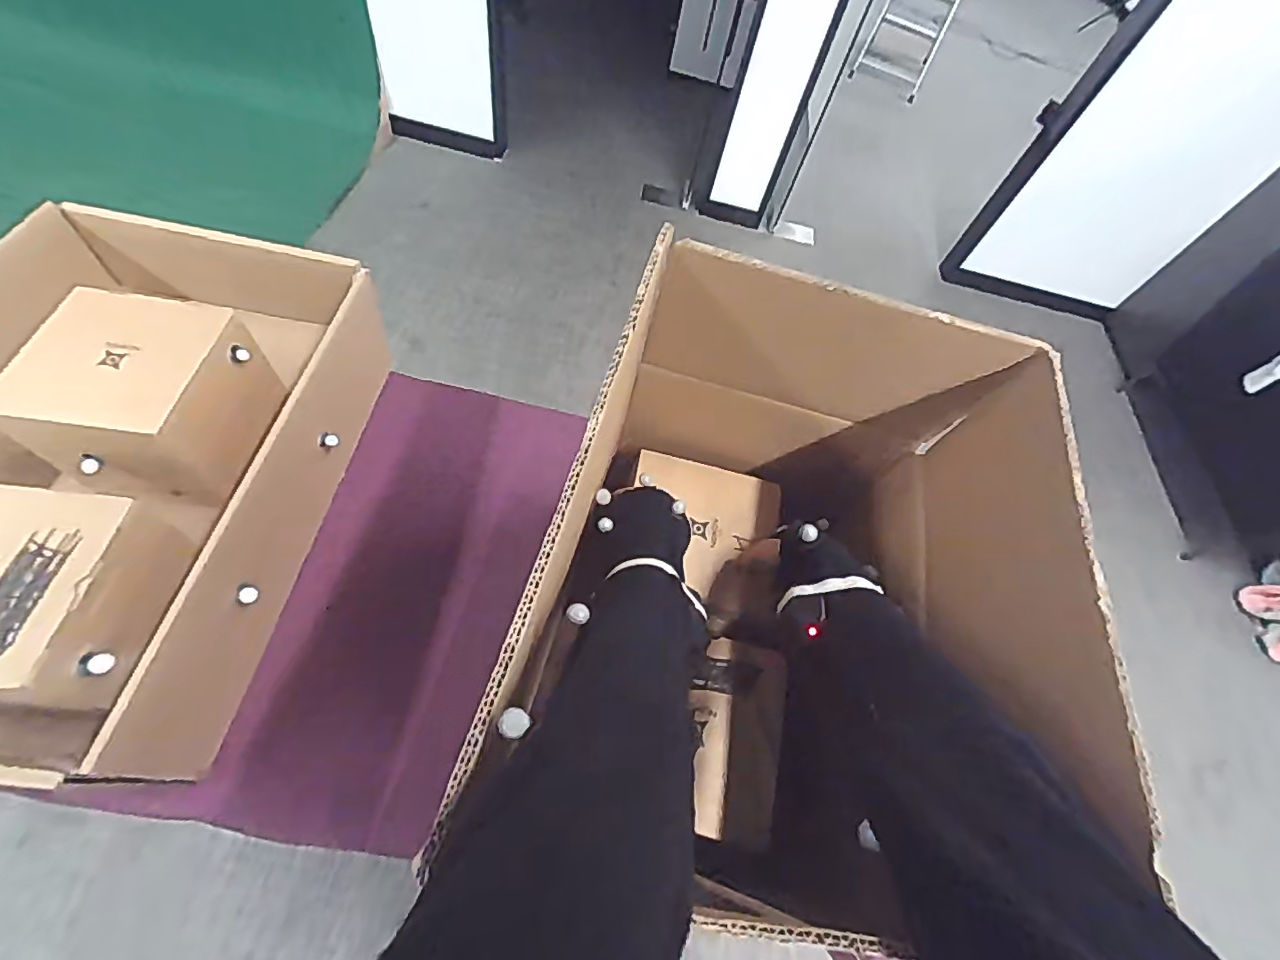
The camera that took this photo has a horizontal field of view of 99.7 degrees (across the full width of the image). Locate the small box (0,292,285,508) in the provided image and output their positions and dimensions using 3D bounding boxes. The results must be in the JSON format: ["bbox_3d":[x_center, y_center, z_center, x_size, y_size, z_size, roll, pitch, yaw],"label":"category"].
[{"bbox_3d":[-0.553,-0.083,0.626,0.168,0.176,0.179,7,59,-5],"label":"small box"}]
